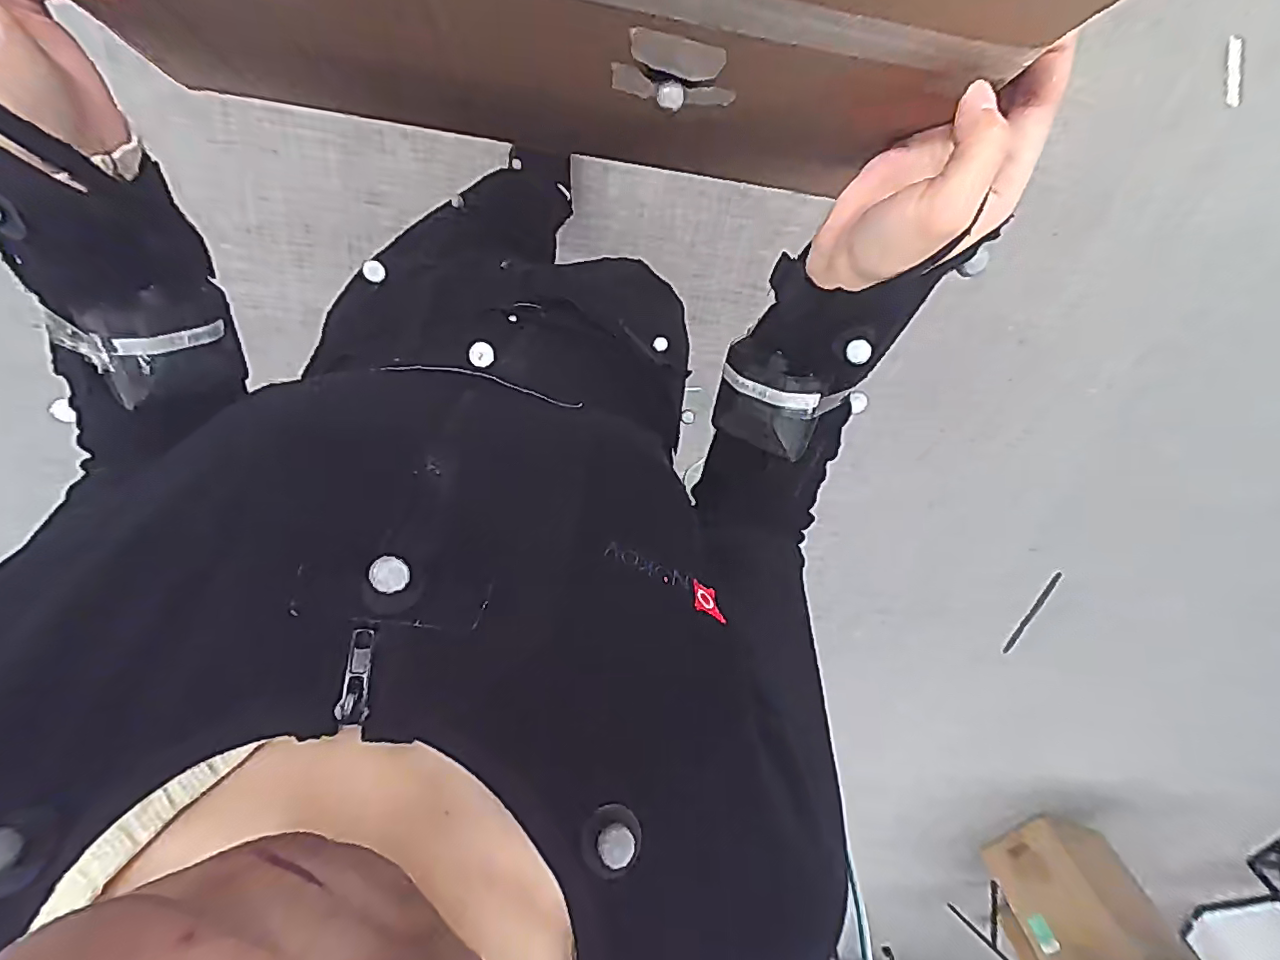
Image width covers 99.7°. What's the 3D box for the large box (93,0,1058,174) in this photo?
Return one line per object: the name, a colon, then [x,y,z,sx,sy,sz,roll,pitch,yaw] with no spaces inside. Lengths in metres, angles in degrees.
large box: [-0.033,-0.343,0.167,0.408,0.320,0.320,4,100,-7]
